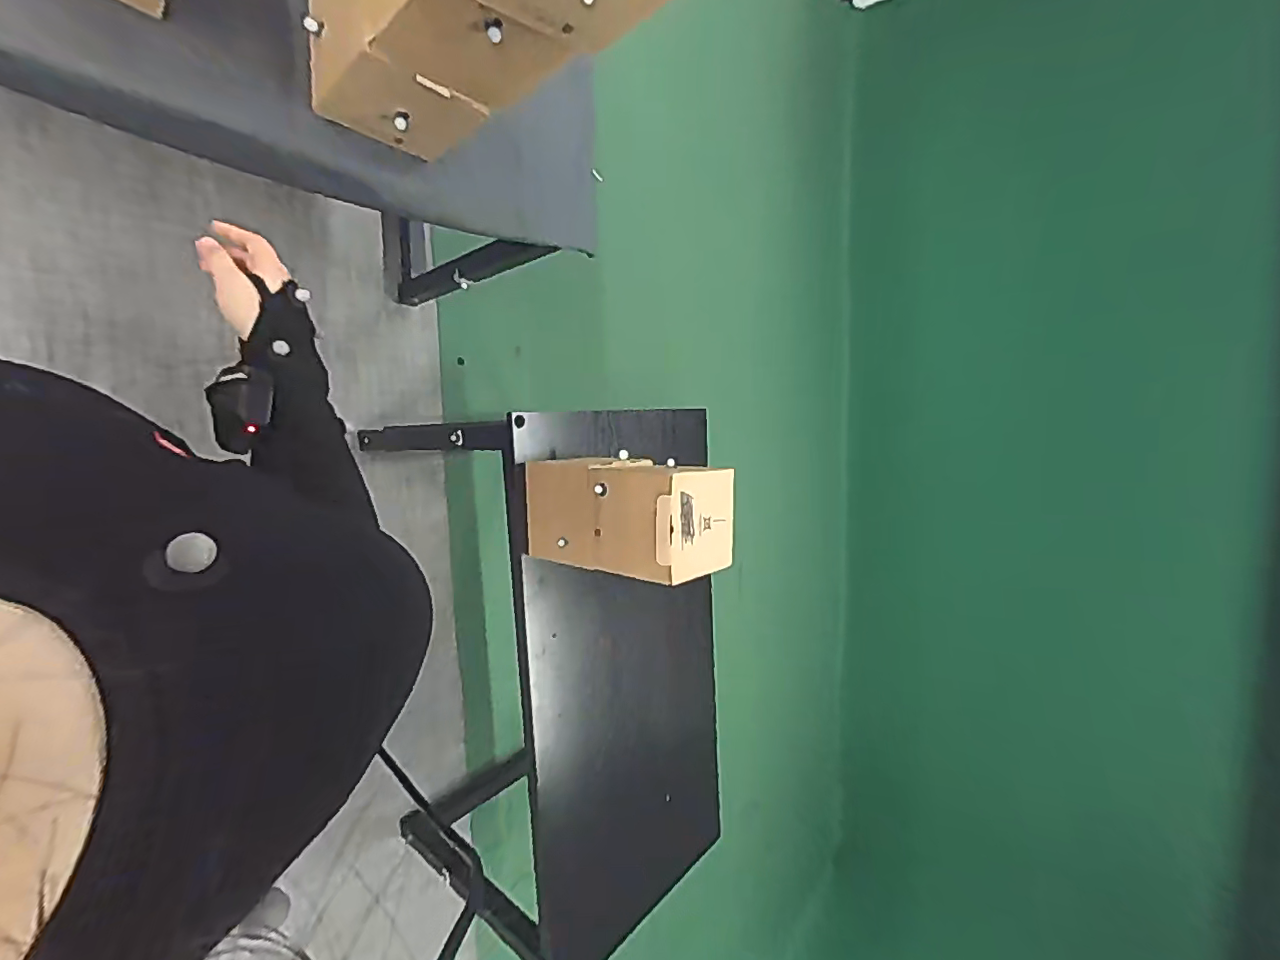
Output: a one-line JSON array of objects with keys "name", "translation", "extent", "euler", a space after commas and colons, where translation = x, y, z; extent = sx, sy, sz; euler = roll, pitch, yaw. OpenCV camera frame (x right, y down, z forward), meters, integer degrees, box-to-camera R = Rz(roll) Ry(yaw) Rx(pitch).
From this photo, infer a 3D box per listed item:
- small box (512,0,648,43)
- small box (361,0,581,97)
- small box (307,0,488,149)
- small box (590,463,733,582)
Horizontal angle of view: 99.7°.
[{"name": "small box", "translation": [-0.057, -0.554, 0.491], "extent": [0.168, 0.176, 0.179], "euler": [-18, 104, -46]}, {"name": "small box", "translation": [-0.185, -0.566, 0.595], "extent": [0.179, 0.176, 0.168], "euler": [-6, 96, -47]}, {"name": "small box", "translation": [-0.312, -0.569, 0.697], "extent": [0.168, 0.176, 0.179], "euler": [-3, 94, -47]}, {"name": "small box", "translation": [0.033, 0.059, 0.881], "extent": [0.179, 0.176, 0.168], "euler": [-4, 97, -49]}]
